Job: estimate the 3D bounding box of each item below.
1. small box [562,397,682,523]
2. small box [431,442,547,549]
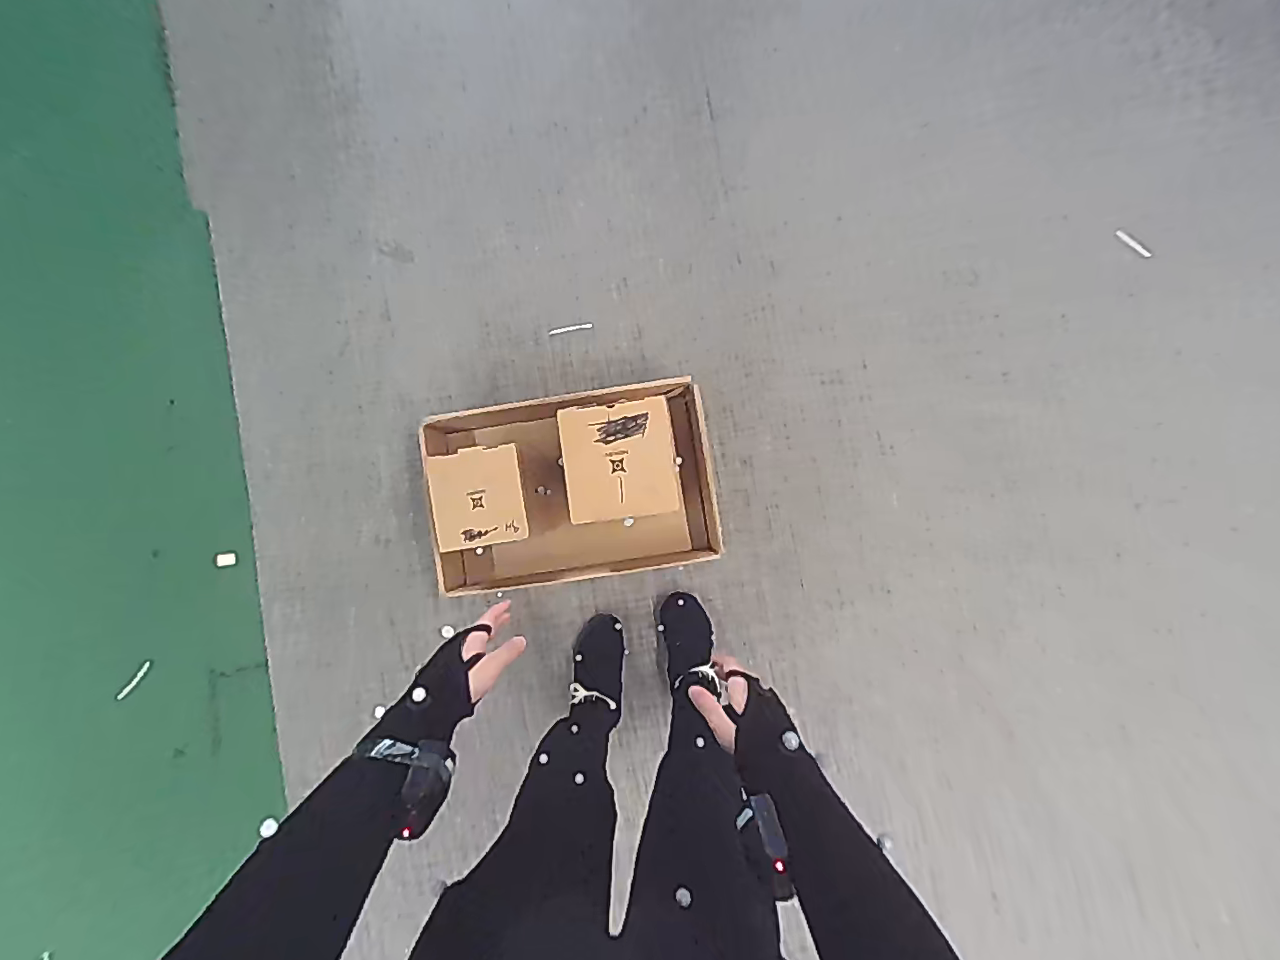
[{"bbox_3d":[-0.026,-0.026,0.885,0.168,0.176,0.179,-8,88,3],"label":"small box"},{"bbox_3d":[-0.285,0.034,1.051,0.168,0.176,0.179,-9,87,1],"label":"small box"}]
